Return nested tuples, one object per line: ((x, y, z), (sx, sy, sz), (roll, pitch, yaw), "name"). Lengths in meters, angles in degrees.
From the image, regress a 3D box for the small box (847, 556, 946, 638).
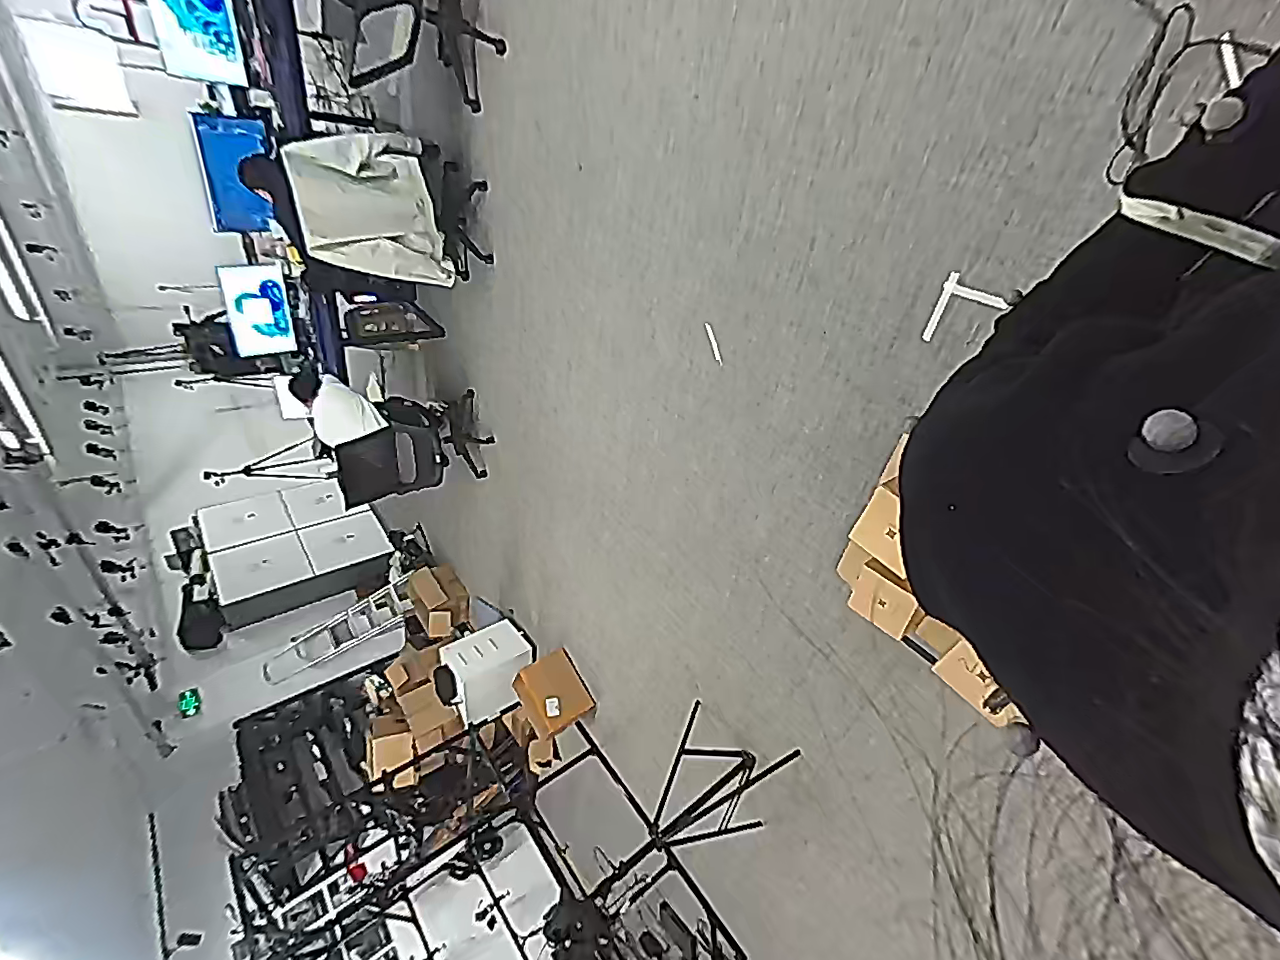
((0.749, 0.322, 1.583), (0.179, 0.176, 0.168), (37, 132, 39), "small box")

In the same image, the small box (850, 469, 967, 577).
((0.659, 0.100, 1.325), (0.168, 0.176, 0.179), (43, 134, 33), "small box")
